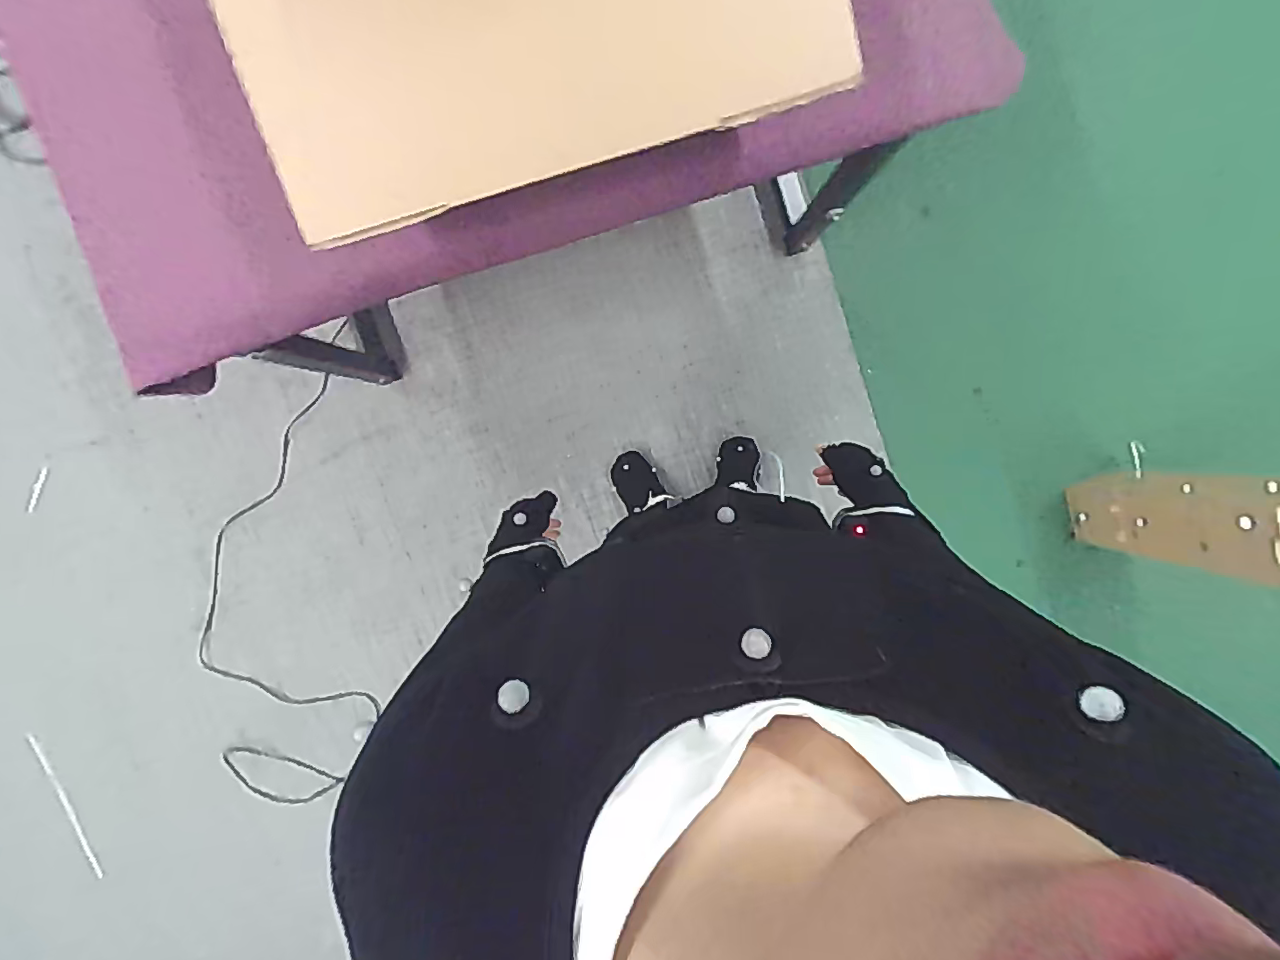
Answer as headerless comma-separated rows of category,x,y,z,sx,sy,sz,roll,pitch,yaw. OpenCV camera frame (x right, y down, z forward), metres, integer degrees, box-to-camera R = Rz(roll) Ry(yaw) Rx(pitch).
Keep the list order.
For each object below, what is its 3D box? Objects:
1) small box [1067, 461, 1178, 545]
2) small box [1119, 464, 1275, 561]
small box,1.274,0.054,1.410,0.179,0.176,0.168,-17,95,1
small box,1.276,0.067,1.248,0.179,0.176,0.168,-18,96,2
